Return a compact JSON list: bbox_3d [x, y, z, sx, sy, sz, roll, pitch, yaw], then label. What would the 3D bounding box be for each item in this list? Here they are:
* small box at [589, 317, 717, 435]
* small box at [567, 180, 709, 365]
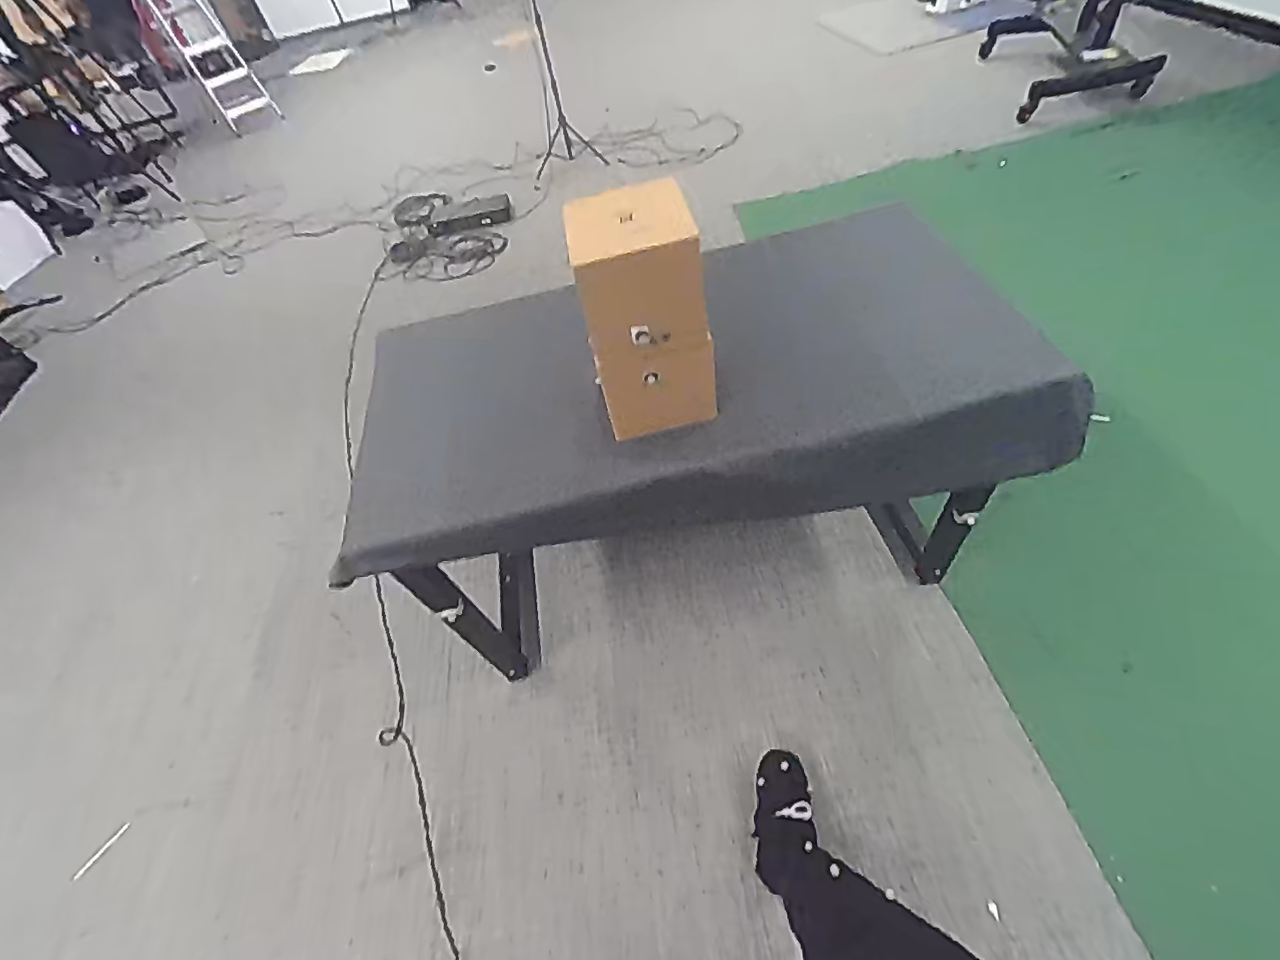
[{"bbox_3d":[0.024,-0.197,0.910,0.179,0.176,0.168,-13,51,0],"label":"small box"},{"bbox_3d":[-0.001,-0.298,0.786,0.168,0.176,0.179,-14,52,2],"label":"small box"}]
